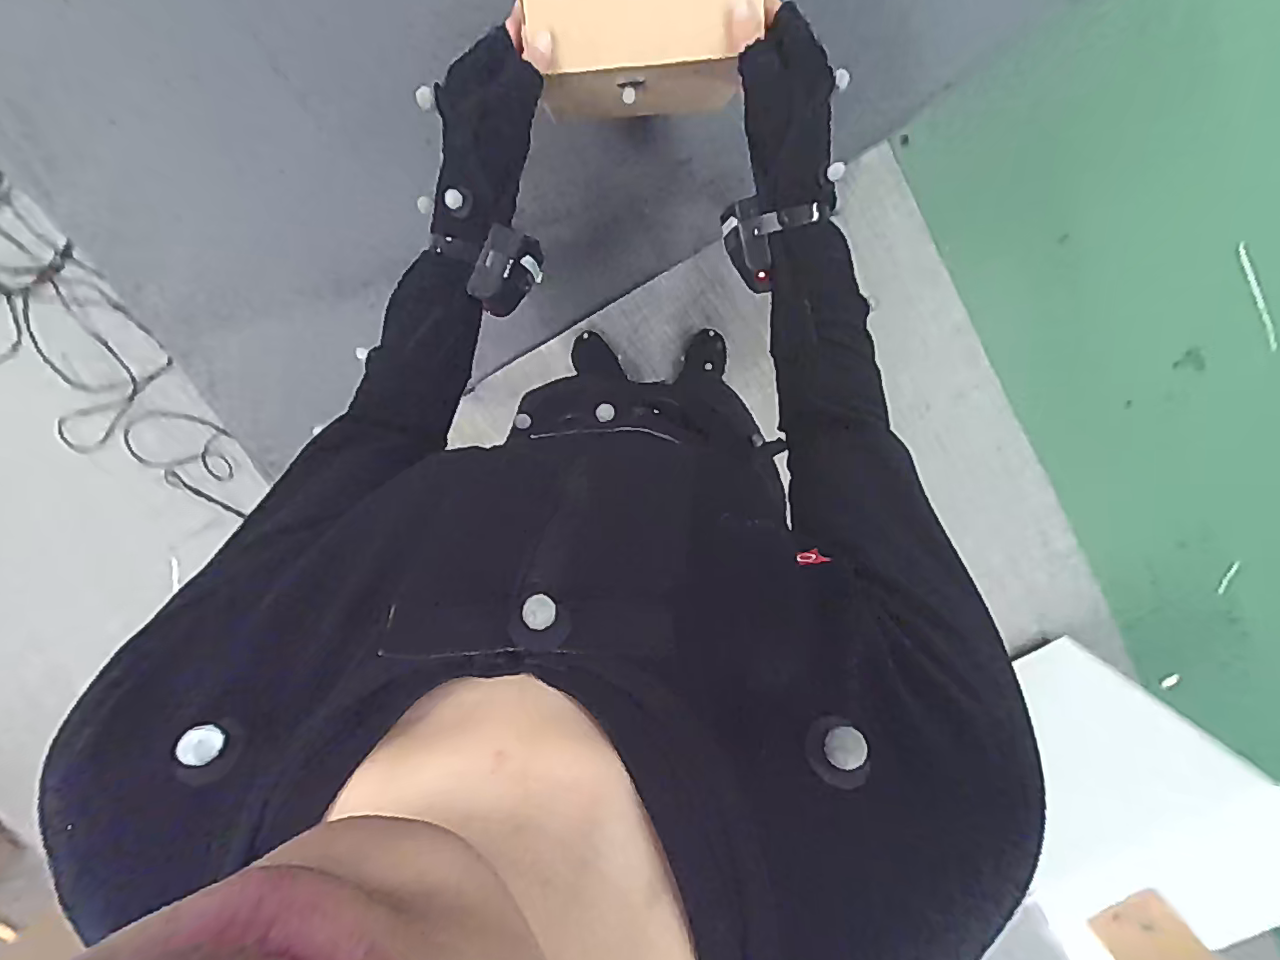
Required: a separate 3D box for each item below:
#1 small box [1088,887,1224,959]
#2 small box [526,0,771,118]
[{"bbox_3d":[1.087,0.994,1.109,0.168,0.176,0.179,-38,104,8],"label":"small box"},{"bbox_3d":[0.002,-0.410,0.438,0.179,0.176,0.168,-5,114,0],"label":"small box"}]
